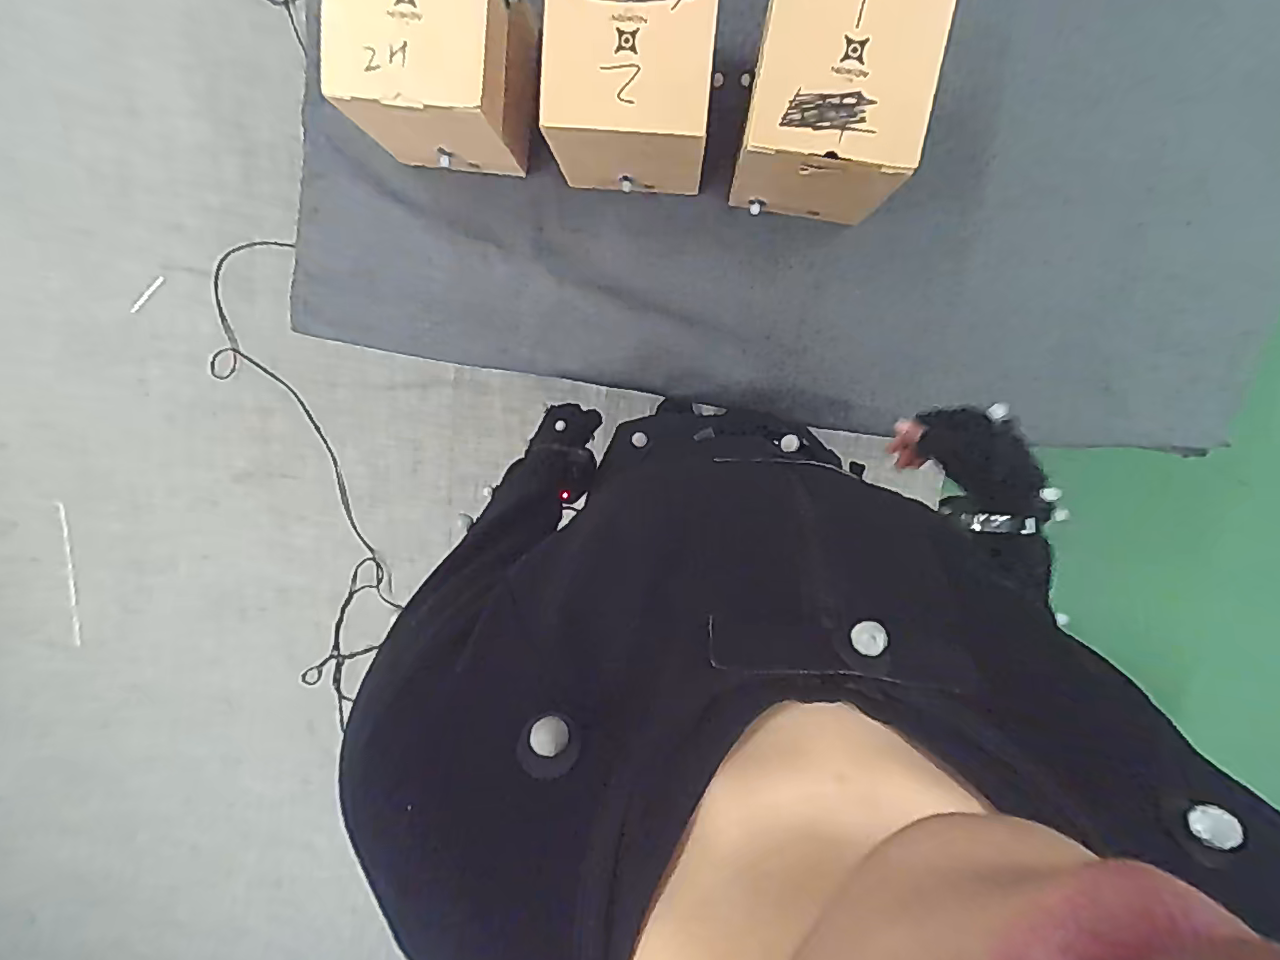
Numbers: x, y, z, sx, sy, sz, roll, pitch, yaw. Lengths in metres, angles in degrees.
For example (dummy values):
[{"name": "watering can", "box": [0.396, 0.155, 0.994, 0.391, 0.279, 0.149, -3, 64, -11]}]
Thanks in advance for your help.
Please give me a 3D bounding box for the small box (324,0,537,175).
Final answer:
[{"name": "small box", "box": [-0.217, -0.472, 0.599, 0.168, 0.176, 0.179, 8, 100, 3]}]
